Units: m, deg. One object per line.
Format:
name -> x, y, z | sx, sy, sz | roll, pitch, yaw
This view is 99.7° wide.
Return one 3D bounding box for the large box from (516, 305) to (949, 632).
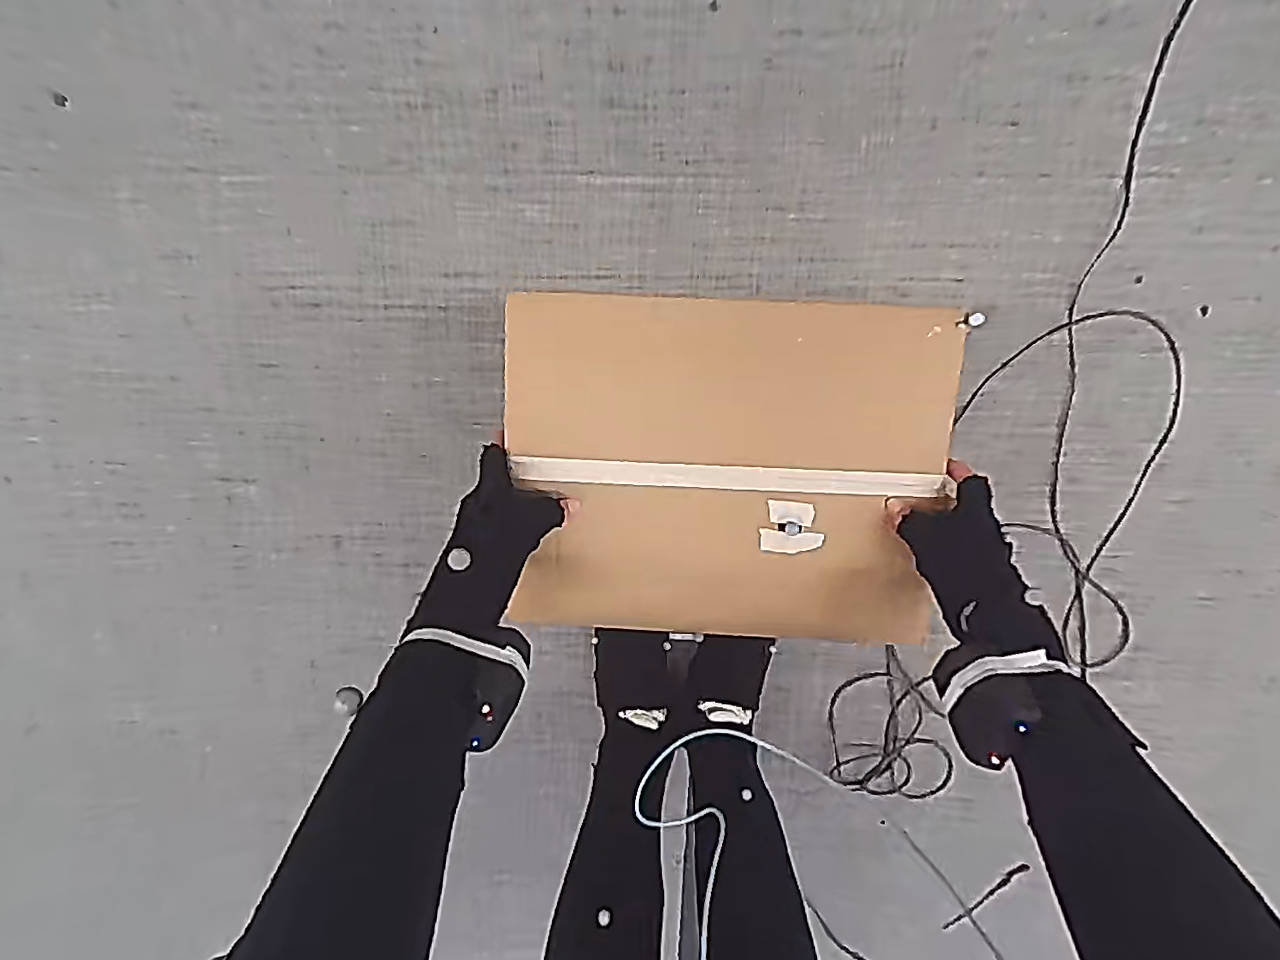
large box -> 0.083, -0.027, 0.665 | 0.408, 0.320, 0.320 | 2, 100, 2
